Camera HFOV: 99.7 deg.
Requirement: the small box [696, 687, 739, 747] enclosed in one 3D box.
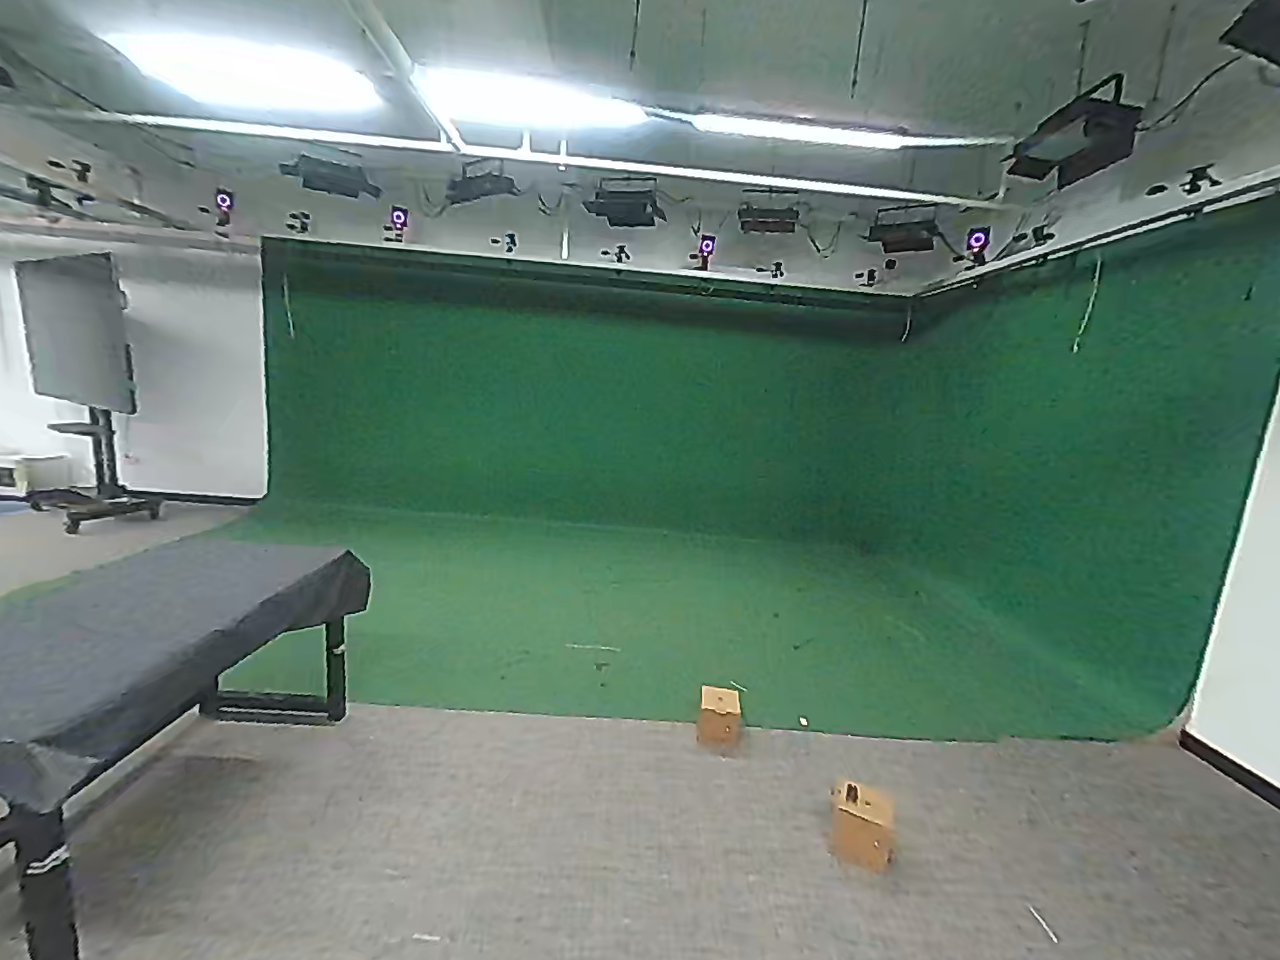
[{"bbox_3d":[0.339,1.041,2.371,0.168,0.176,0.179,7,9,5],"label":"small box"}]
